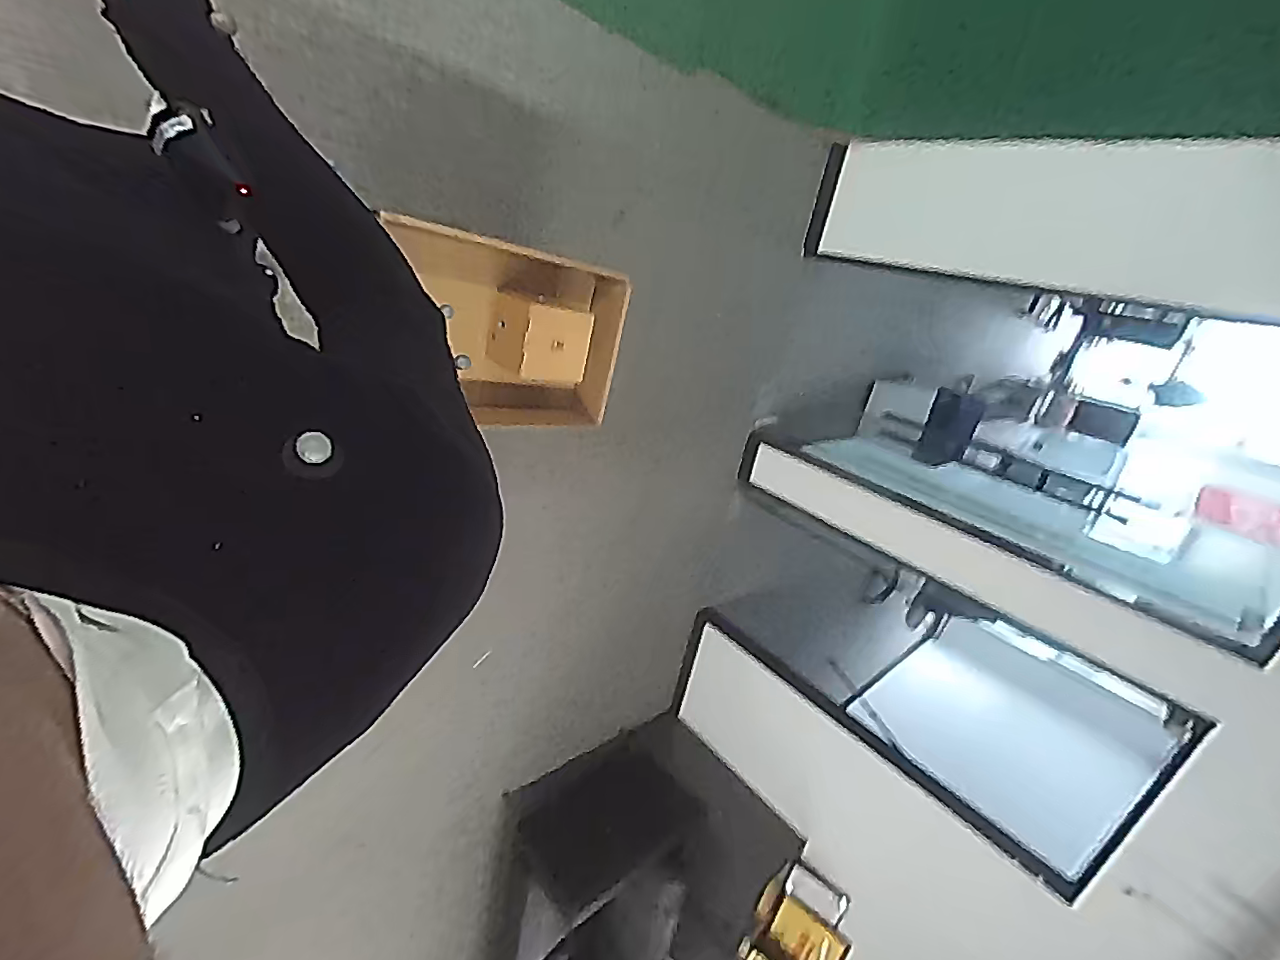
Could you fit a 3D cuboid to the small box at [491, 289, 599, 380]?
[{"bbox_3d":[-0.229,-0.346,1.289,0.179,0.176,0.168,-5,118,-42],"label":"small box"}]
